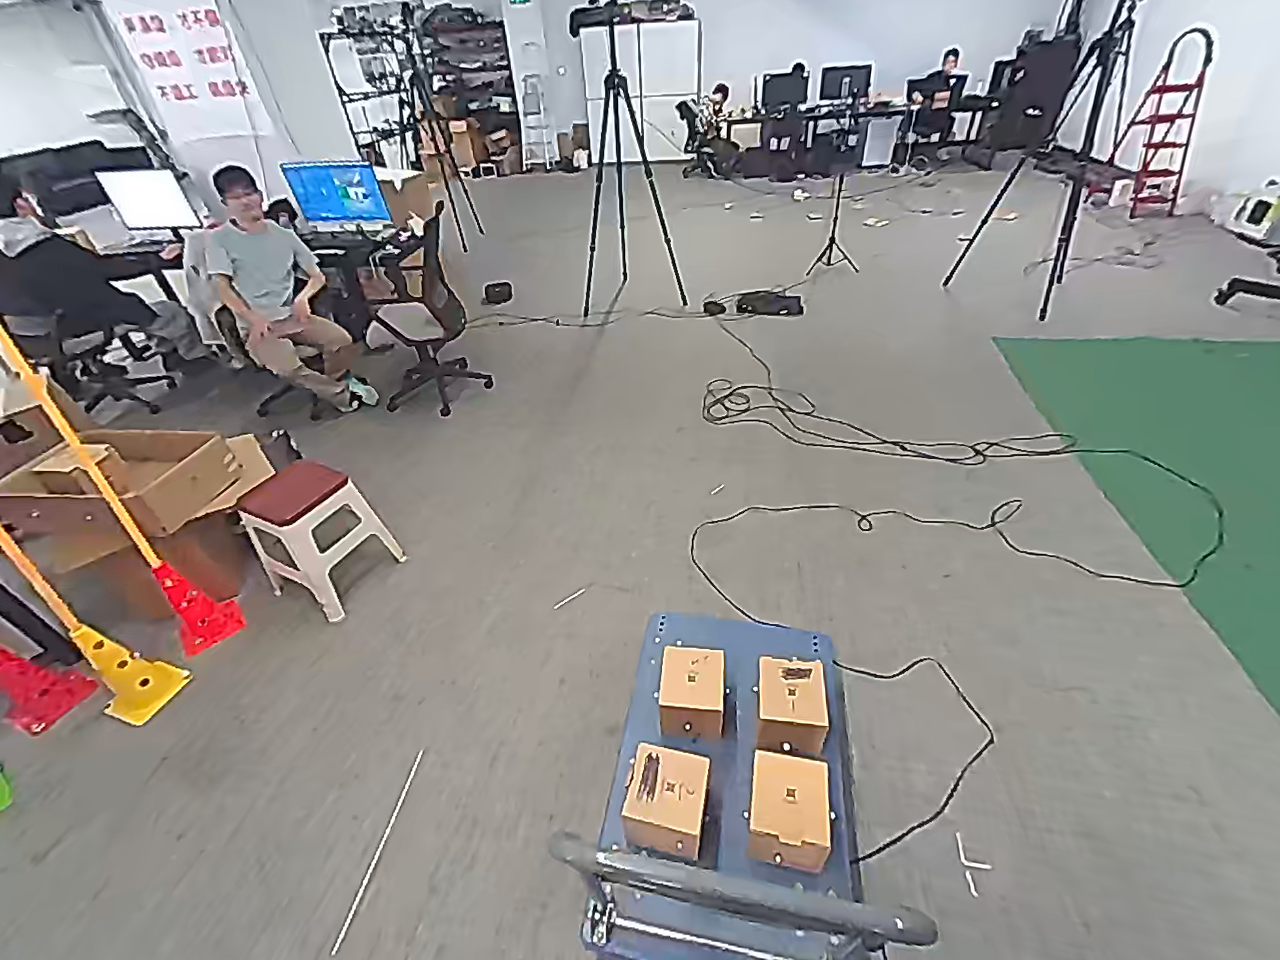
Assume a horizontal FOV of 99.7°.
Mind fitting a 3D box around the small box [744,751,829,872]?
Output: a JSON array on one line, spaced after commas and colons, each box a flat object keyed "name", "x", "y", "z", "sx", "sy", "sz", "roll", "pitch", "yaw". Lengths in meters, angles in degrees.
[{"name": "small box", "x": 0.333, "y": 0.761, "z": 1.242, "sx": 0.168, "sy": 0.176, "sz": 0.179, "roll": 6, "pitch": 42, "yaw": 12}]

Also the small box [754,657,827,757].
[{"name": "small box", "x": 0.391, "y": 0.598, "z": 1.429, "sx": 0.168, "sy": 0.176, "sz": 0.179, "roll": 4, "pitch": 42, "yaw": 10}]

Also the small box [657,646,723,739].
[{"name": "small box", "x": 0.140, "y": 0.580, "z": 1.472, "sx": 0.168, "sy": 0.176, "sz": 0.179, "roll": 3, "pitch": 40, "yaw": 8}]
